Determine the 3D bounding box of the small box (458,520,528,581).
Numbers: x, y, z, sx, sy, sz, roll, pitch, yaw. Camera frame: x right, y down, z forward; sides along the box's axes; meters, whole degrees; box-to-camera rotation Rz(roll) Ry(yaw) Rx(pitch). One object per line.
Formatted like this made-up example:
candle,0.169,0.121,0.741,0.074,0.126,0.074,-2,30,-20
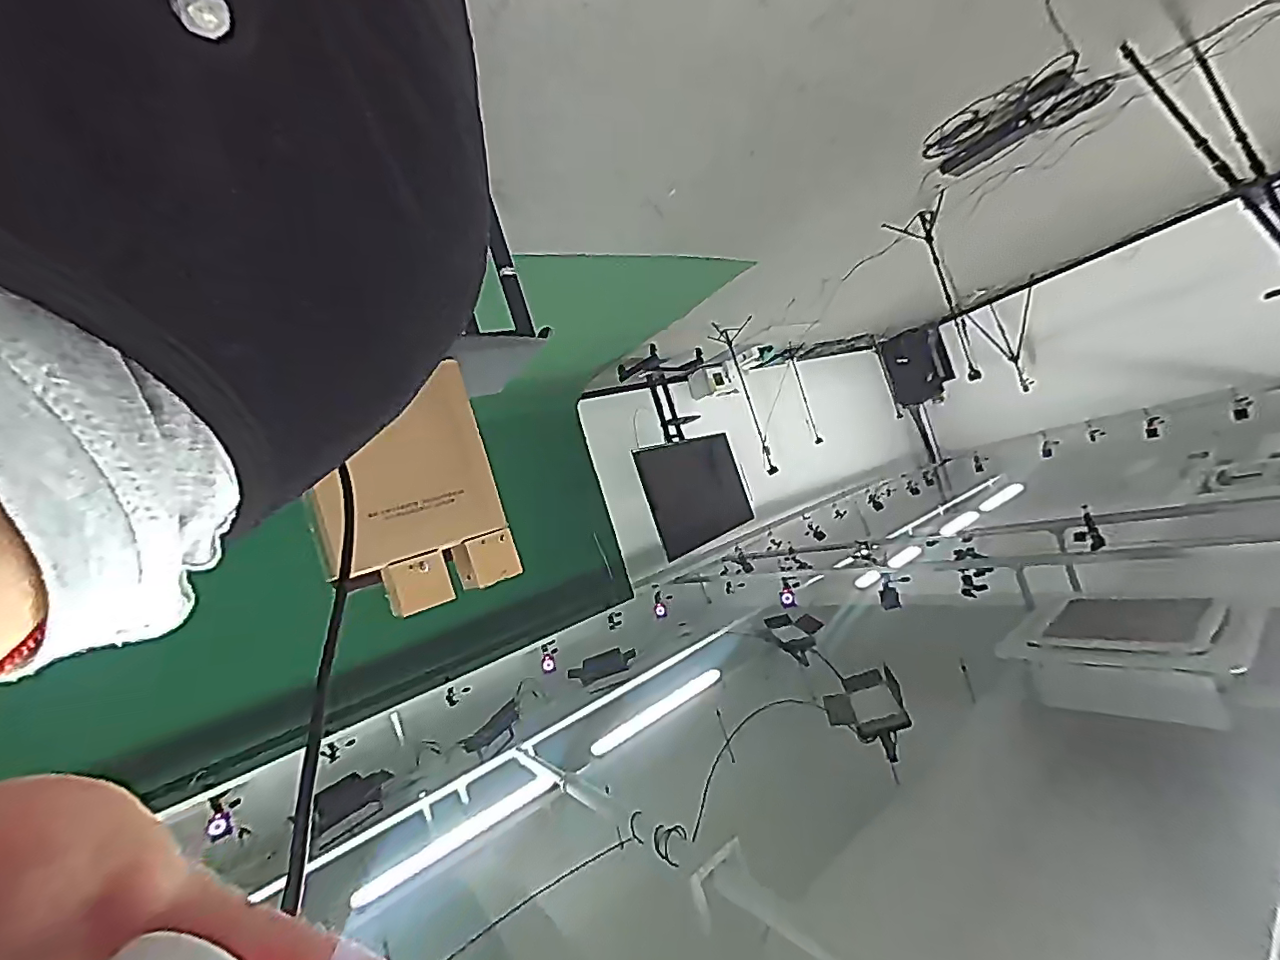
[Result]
small box,-0.527,0.248,1.921,0.168,0.176,0.179,-17,180,-36

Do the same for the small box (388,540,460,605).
small box,-0.719,0.303,1.788,0.168,0.176,0.179,-17,178,-34
